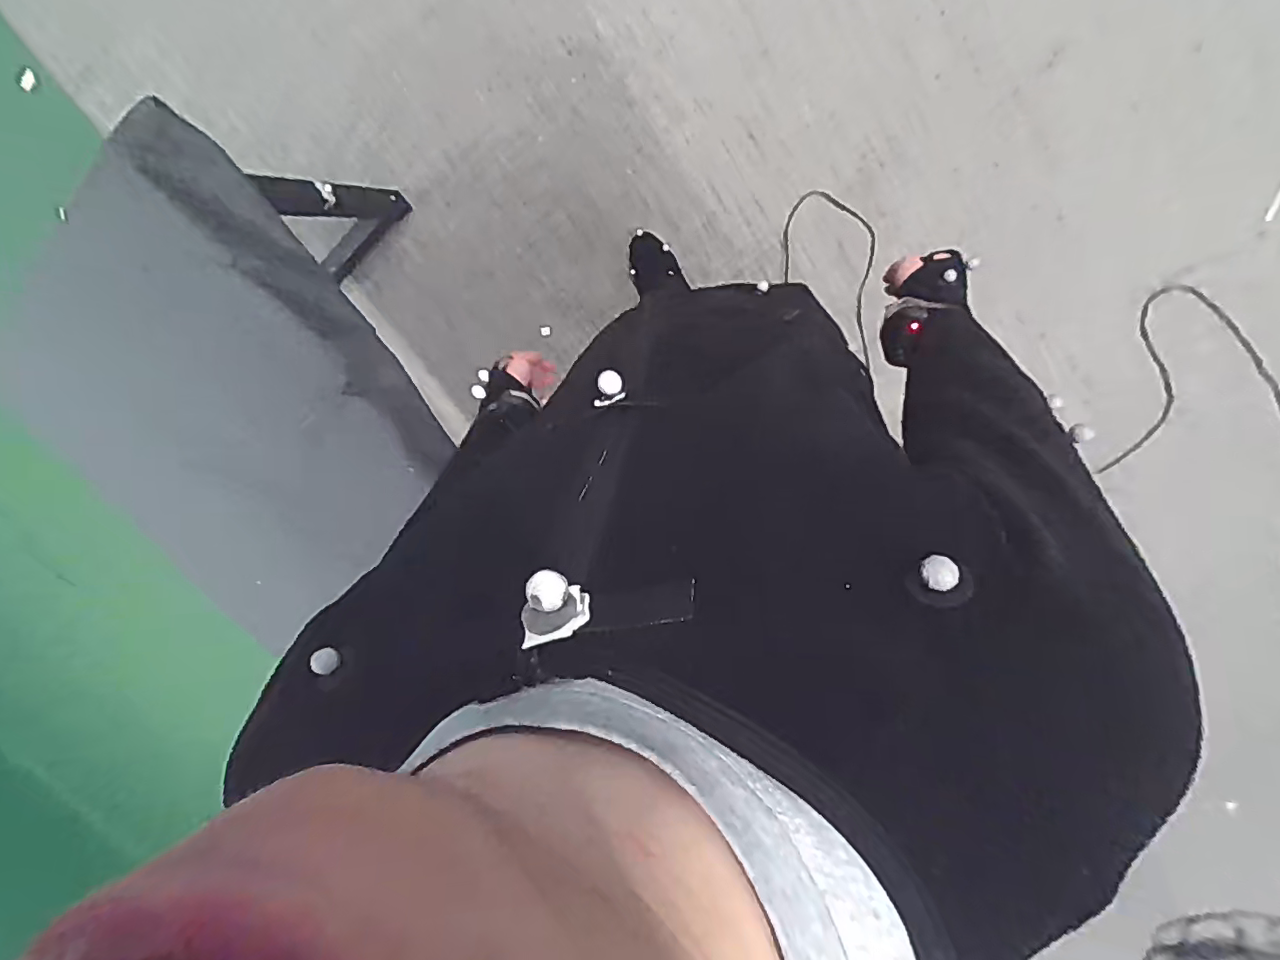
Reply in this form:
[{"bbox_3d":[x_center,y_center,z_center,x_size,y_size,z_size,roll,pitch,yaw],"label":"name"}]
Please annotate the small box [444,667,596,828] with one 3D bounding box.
[{"bbox_3d":[-0.204,0.474,0.971,0.179,0.176,0.168,-33,104,21],"label":"small box"}]
